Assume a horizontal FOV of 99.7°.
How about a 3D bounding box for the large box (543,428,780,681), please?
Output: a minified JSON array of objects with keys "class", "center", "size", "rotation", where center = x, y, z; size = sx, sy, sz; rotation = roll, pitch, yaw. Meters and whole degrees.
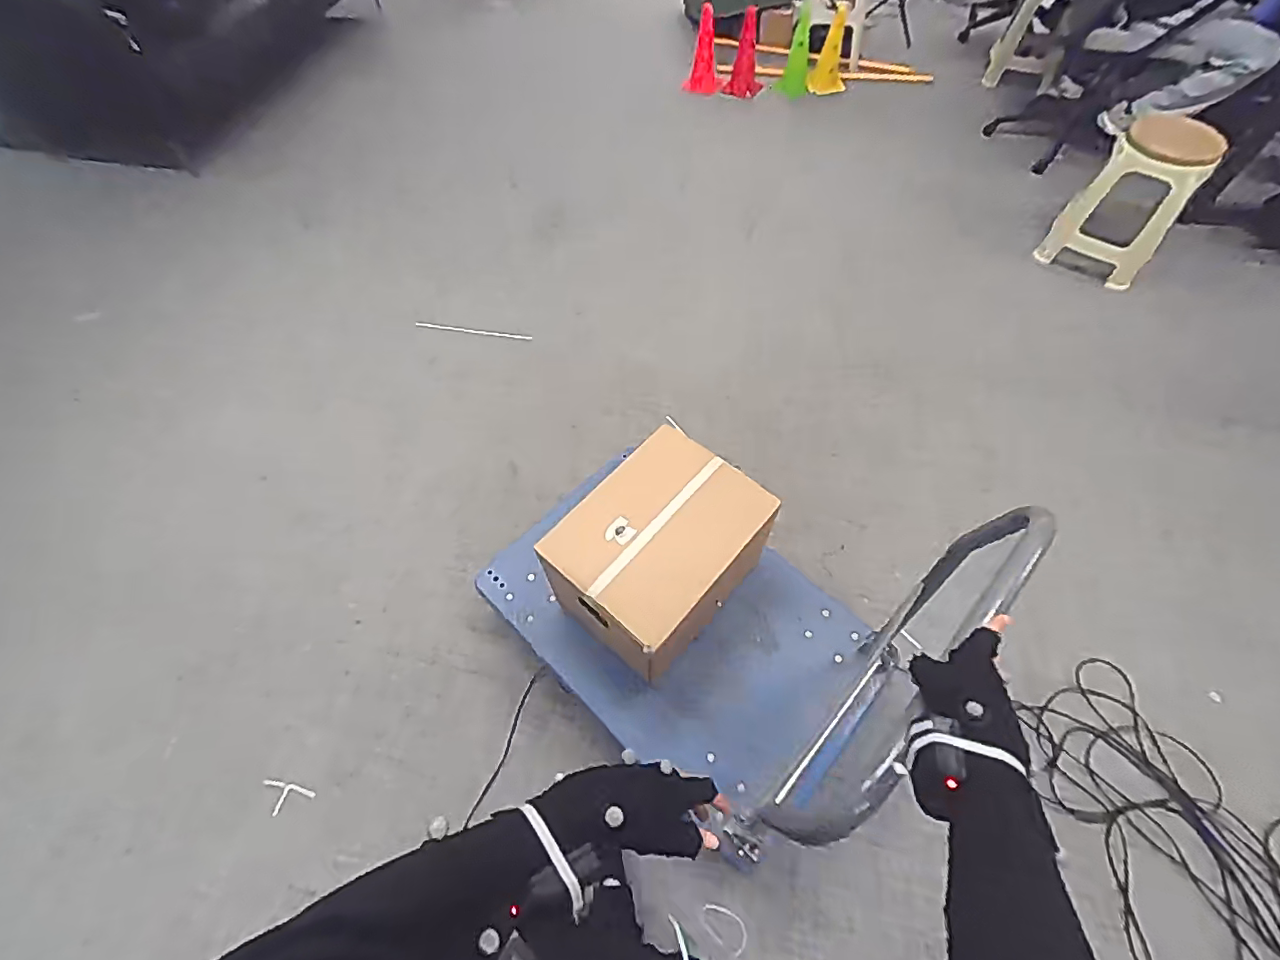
[{"class":"large box","center":[0.051,0.169,1.210],"size":[0.320,0.320,0.408],"rotation":[36,66,21]}]
